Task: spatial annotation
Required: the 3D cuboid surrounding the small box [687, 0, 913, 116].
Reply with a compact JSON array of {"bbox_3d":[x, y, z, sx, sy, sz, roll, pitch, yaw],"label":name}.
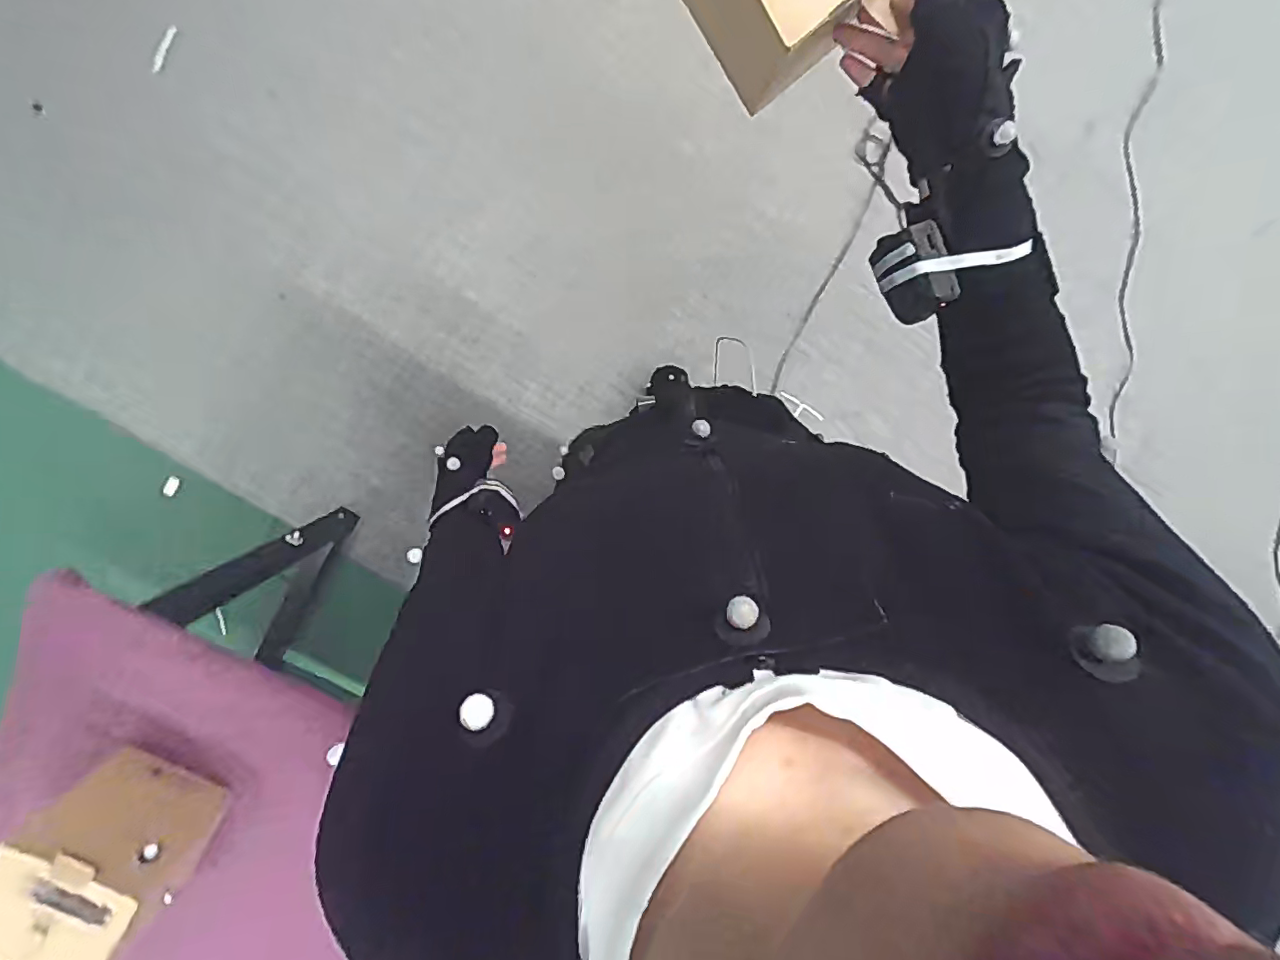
[{"bbox_3d":[0.124,-0.424,0.407,0.168,0.176,0.179,-32,106,14],"label":"small box"}]
